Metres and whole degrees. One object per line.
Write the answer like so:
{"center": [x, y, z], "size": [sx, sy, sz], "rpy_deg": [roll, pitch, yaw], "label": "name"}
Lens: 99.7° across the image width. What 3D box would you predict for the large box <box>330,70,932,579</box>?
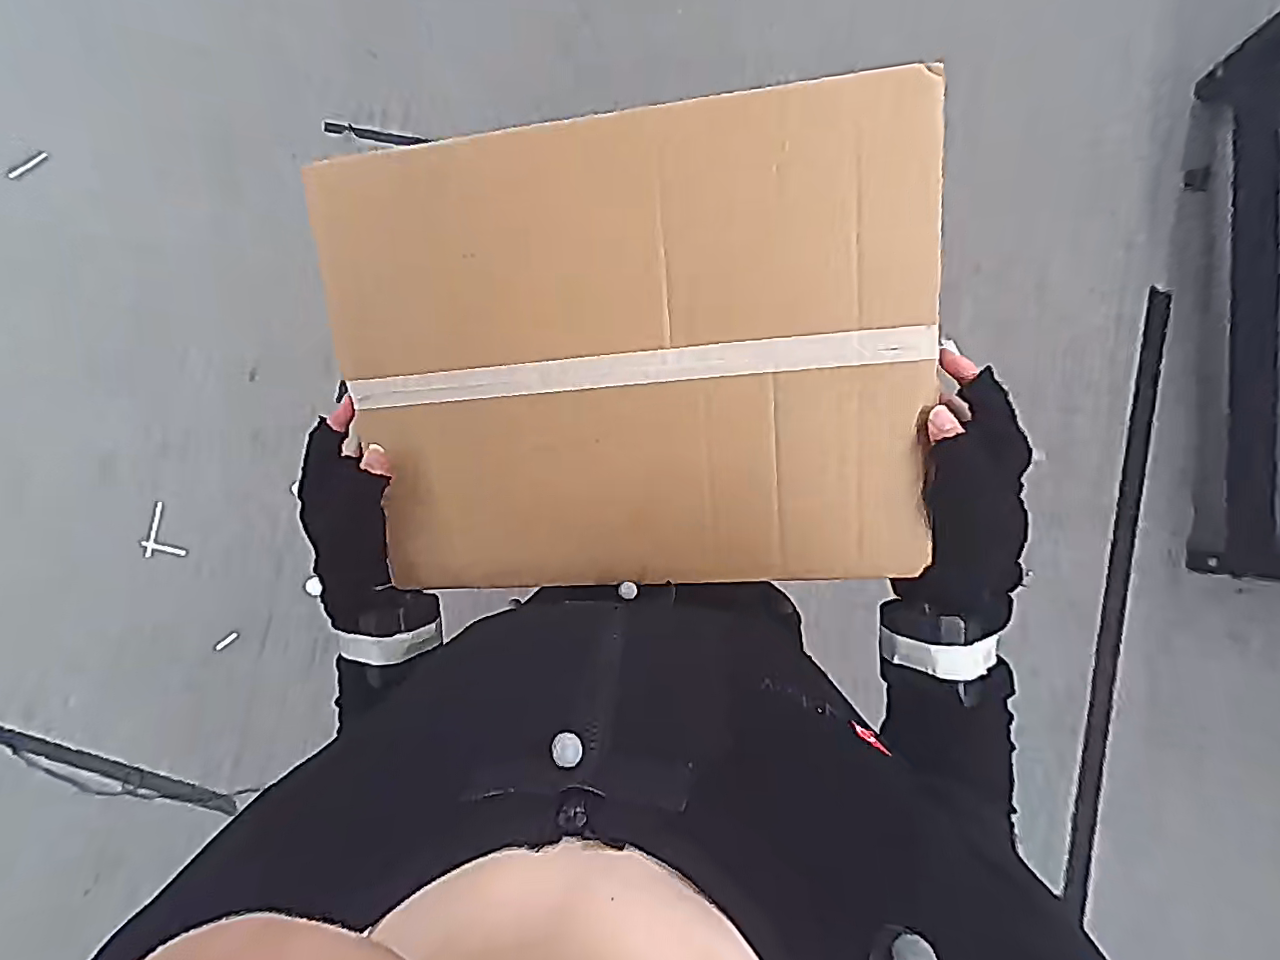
{"center": [0.009, -0.113, 0.522], "size": [0.408, 0.320, 0.320], "rpy_deg": [-3, 104, 9], "label": "large box"}
